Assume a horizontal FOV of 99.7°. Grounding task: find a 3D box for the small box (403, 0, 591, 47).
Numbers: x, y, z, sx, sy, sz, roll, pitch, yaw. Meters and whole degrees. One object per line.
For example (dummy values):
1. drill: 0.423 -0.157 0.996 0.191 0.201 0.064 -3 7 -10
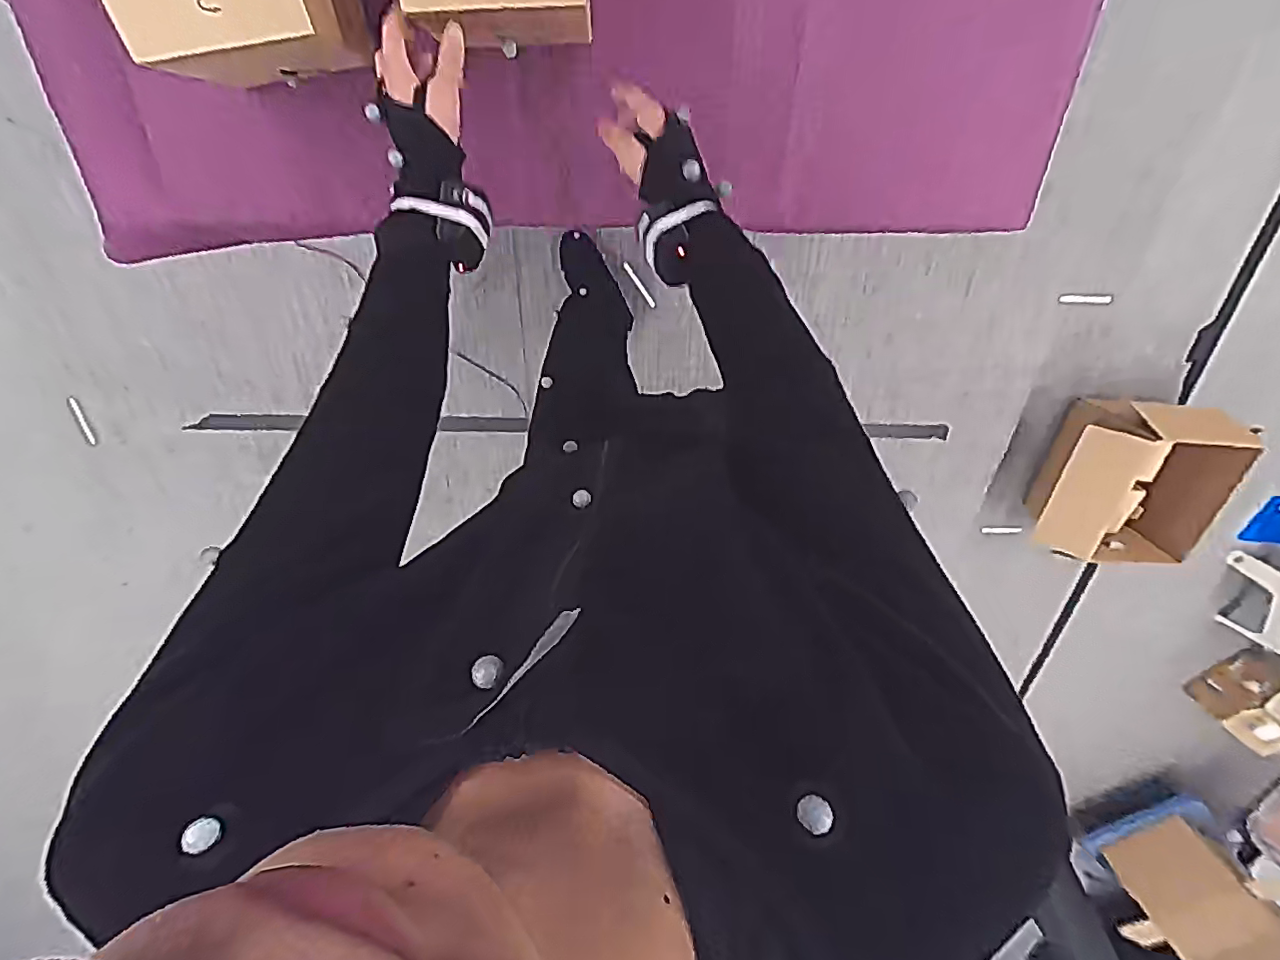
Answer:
1. small box: -0.135 -0.530 0.502 0.168 0.176 0.179 -4 121 -2
